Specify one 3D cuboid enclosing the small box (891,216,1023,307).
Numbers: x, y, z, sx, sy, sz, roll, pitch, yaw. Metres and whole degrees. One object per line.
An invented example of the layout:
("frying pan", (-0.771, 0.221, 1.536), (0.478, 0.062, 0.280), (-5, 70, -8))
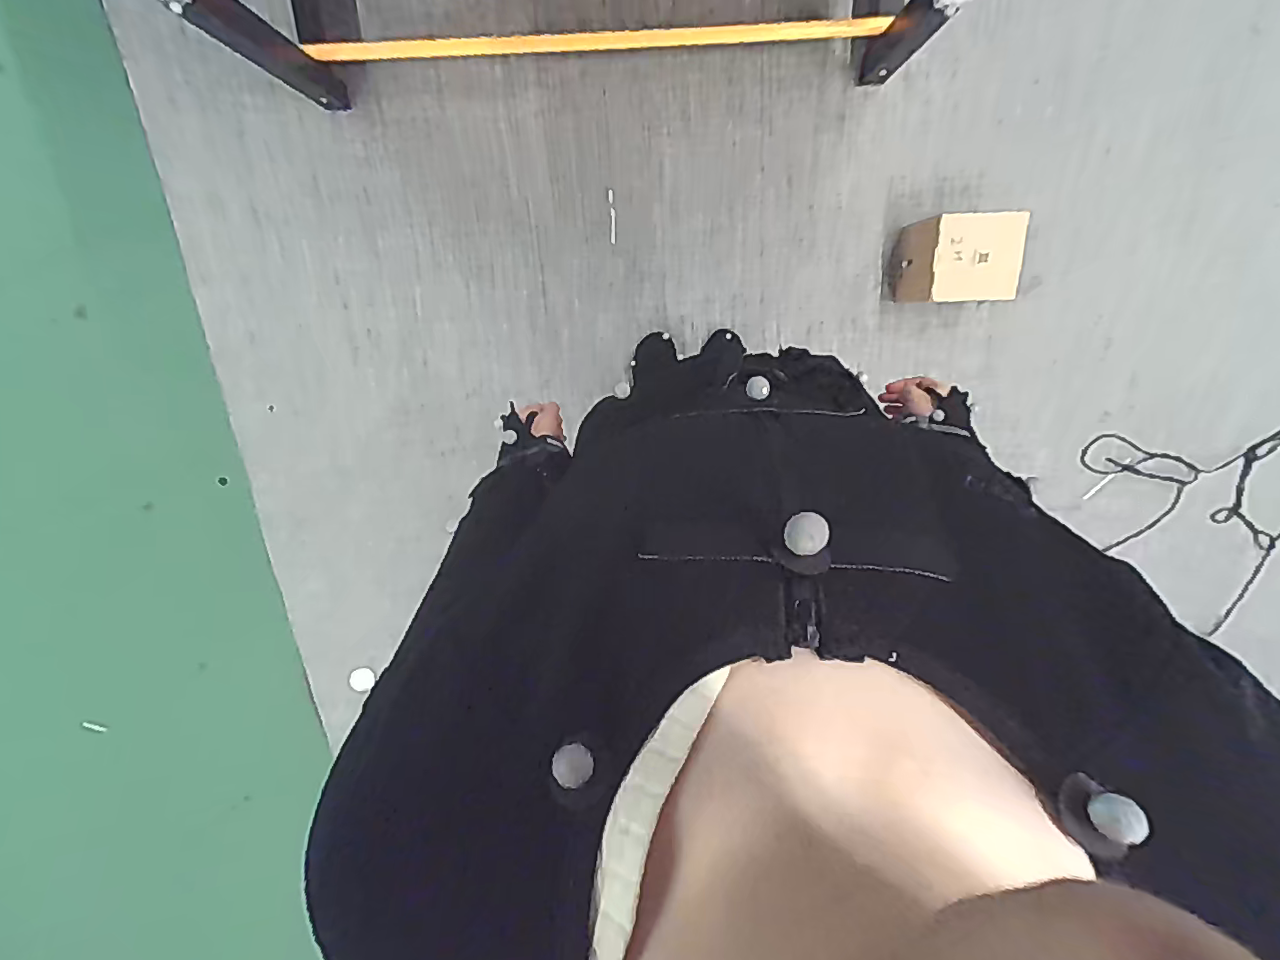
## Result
("small box", (0.668, -0.462, 1.159), (0.179, 0.176, 0.168), (-2, 106, 1))
